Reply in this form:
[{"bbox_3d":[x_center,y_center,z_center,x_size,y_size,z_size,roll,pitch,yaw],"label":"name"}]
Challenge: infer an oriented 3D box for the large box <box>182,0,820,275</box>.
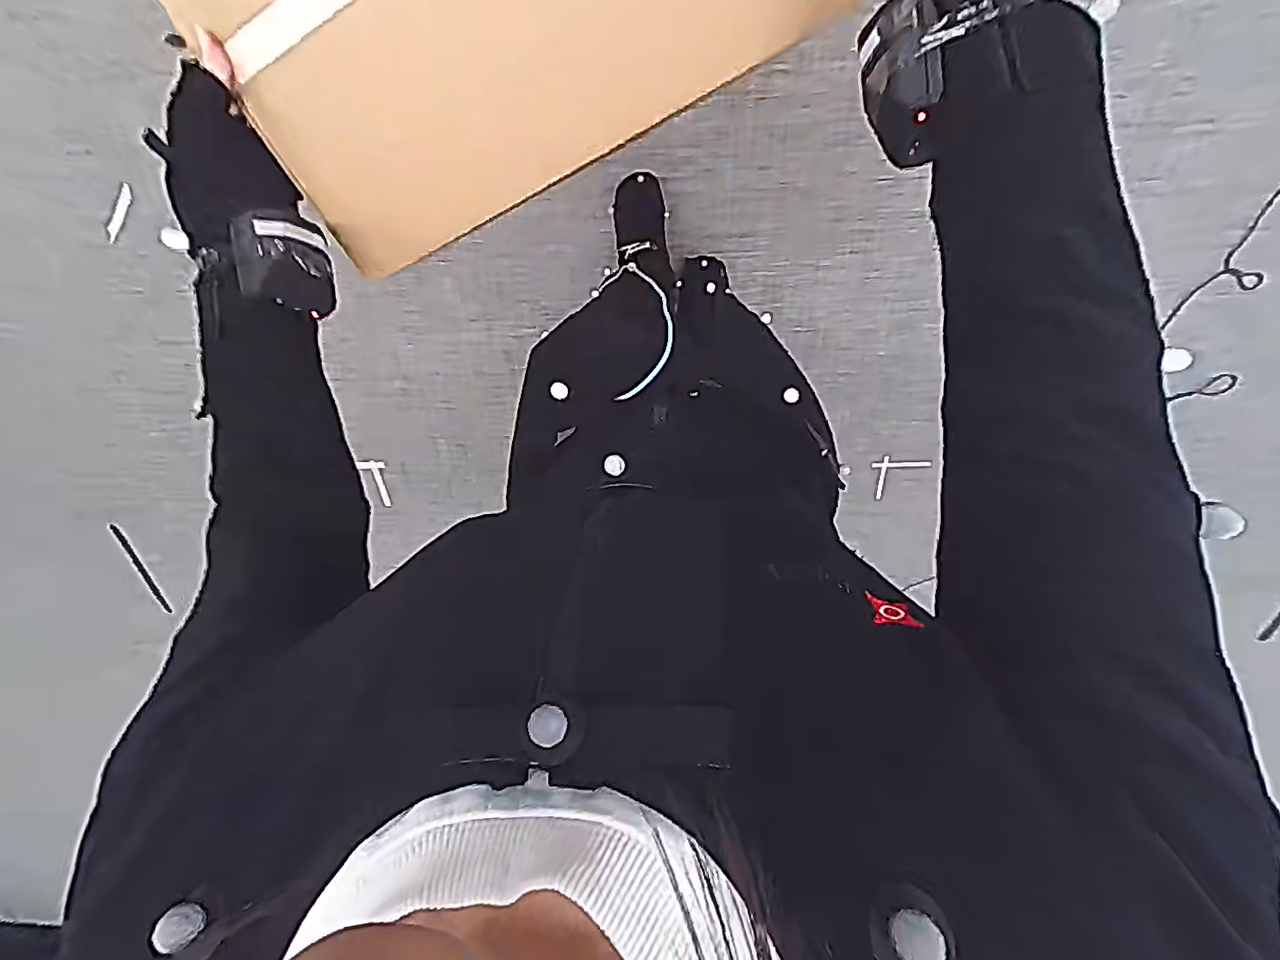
[{"bbox_3d":[-0.109,-0.441,0.460,0.408,0.320,0.320,-23,120,16],"label":"large box"}]
